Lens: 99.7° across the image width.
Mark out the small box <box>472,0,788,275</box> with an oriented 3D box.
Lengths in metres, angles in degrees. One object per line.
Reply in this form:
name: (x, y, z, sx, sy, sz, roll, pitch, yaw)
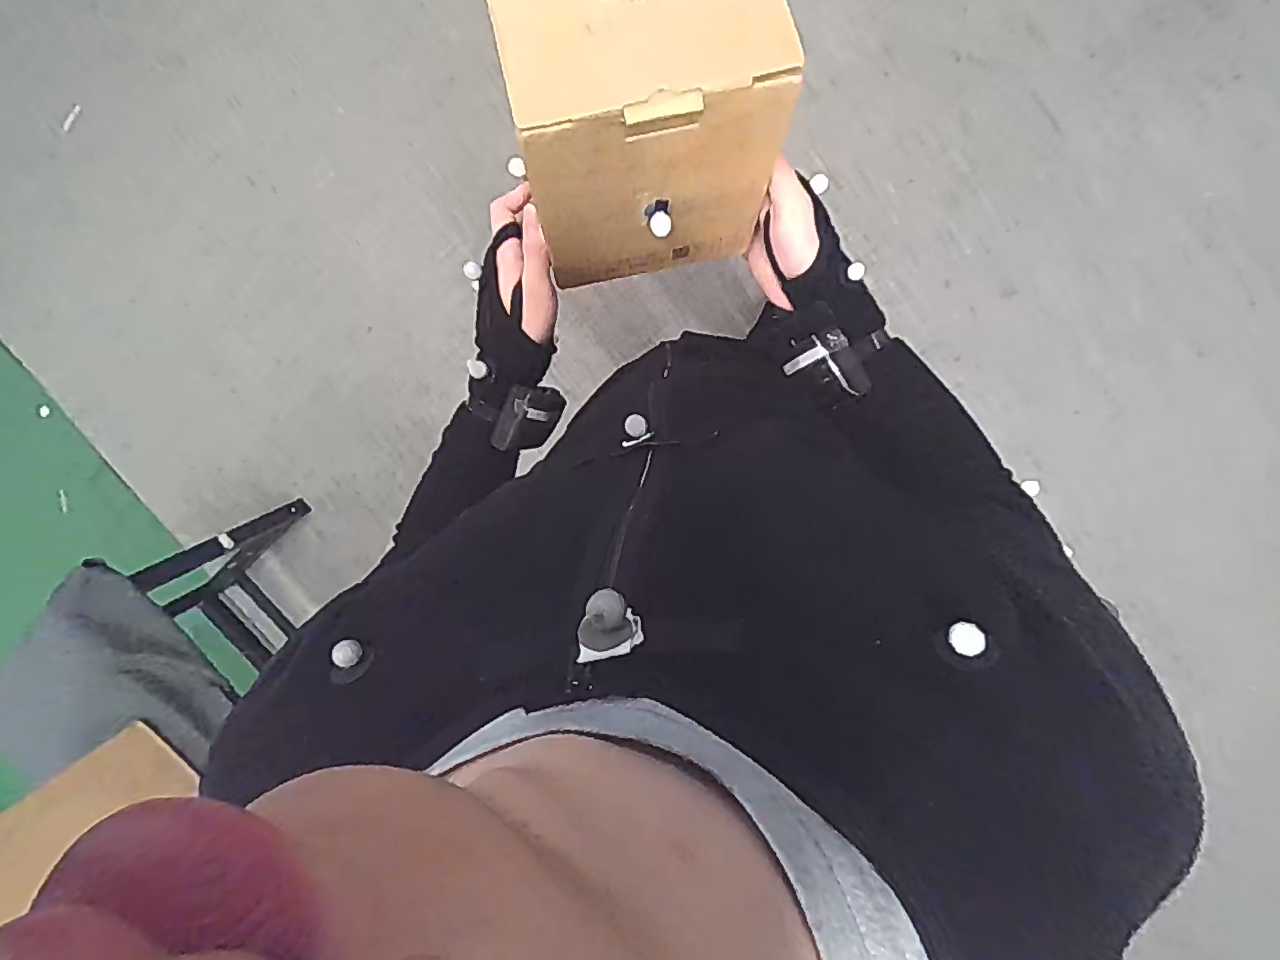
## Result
small box: (-0.013, -0.268, 0.385, 0.168, 0.176, 0.179, -12, 81, -2)
